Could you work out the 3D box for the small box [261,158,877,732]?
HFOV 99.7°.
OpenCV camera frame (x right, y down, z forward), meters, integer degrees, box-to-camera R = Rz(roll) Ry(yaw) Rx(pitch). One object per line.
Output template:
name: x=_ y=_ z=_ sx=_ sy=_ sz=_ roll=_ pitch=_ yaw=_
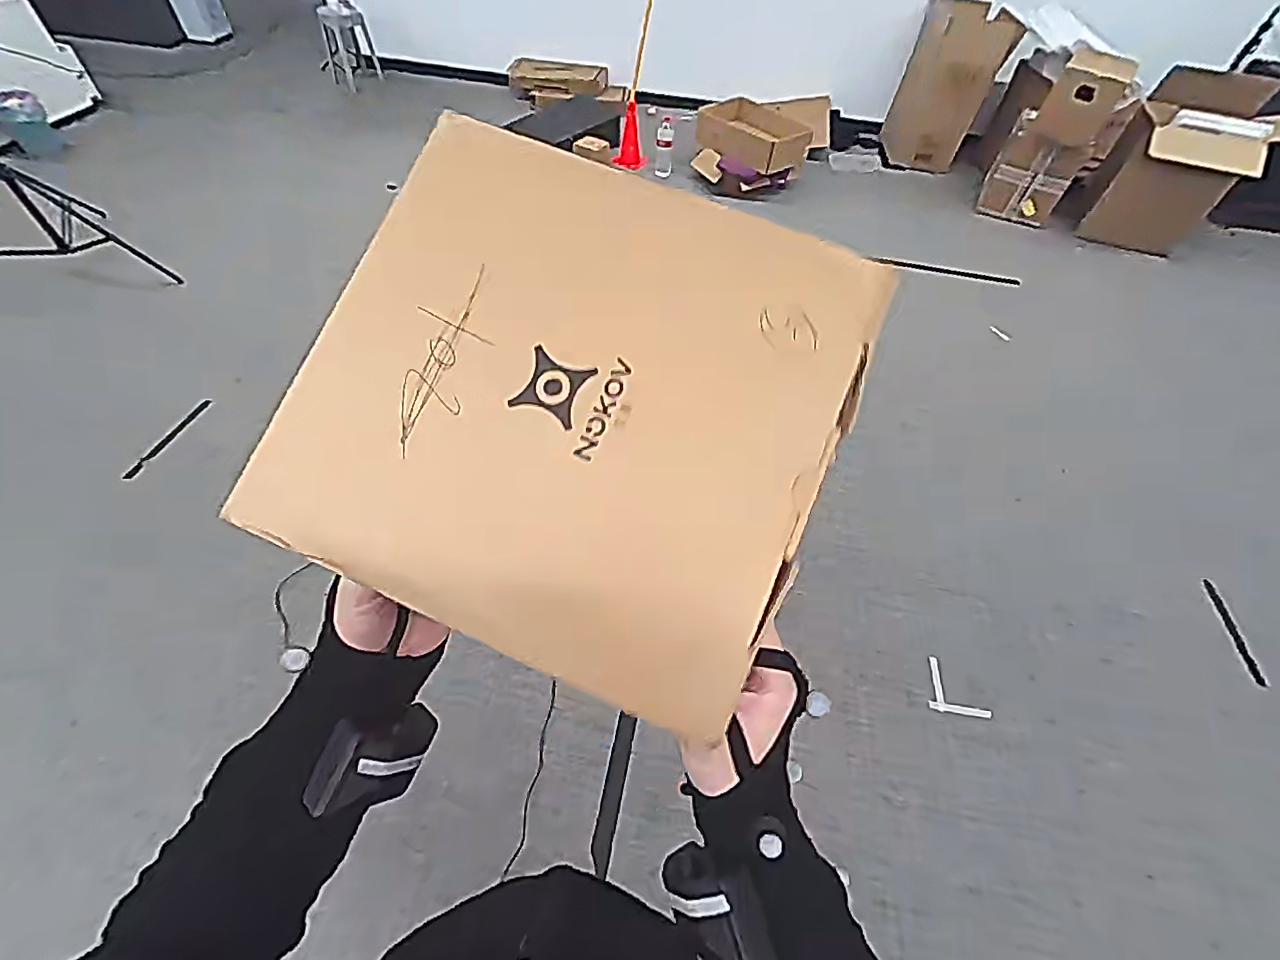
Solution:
small box: x=-0.019 y=-0.008 z=0.269 sx=0.179 sy=0.176 sz=0.168 roll=20 pitch=80 yaw=7
